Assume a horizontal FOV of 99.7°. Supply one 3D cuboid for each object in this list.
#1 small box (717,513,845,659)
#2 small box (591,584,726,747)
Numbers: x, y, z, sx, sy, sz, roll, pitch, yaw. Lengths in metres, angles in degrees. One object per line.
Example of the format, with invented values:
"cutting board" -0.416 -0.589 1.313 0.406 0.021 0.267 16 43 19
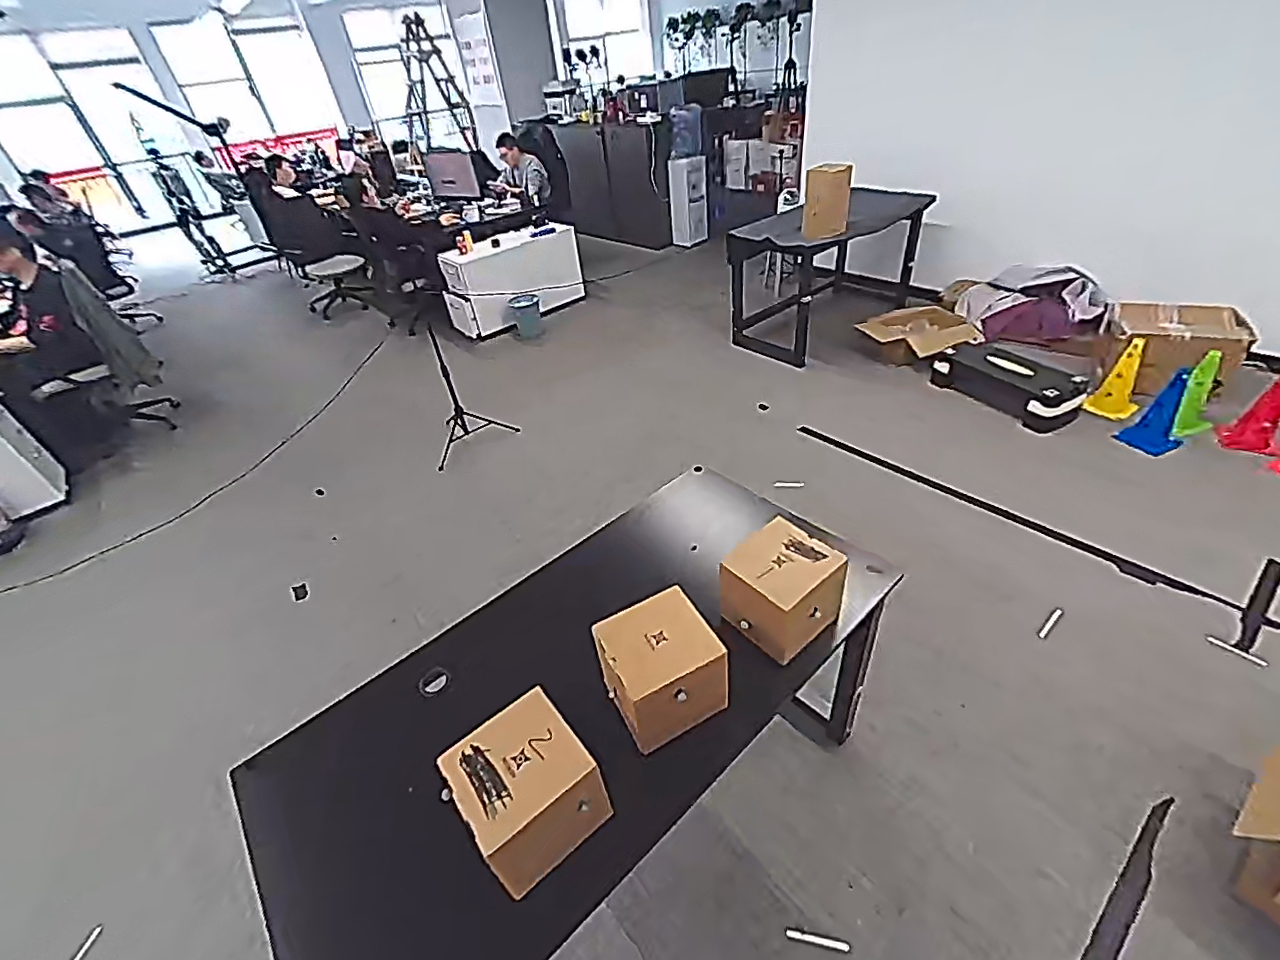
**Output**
"small box" 0.267 0.203 1.045 0.179 0.176 0.168 -32 43 -25
"small box" 0.034 0.322 0.945 0.179 0.176 0.168 -24 40 -17
